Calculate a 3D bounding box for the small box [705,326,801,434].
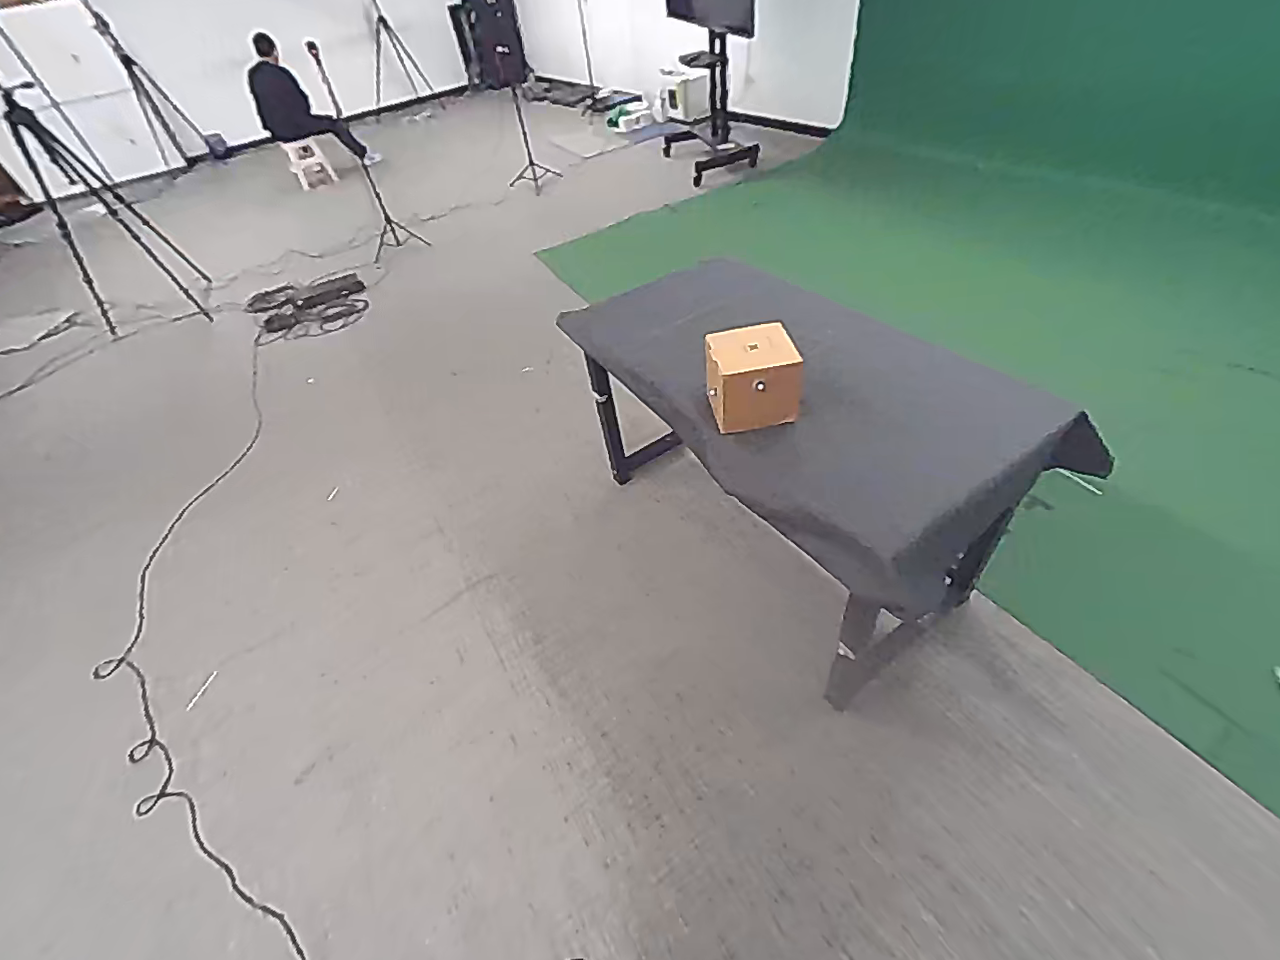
[{"bbox_3d":[0.251,-0.224,1.234,0.179,0.176,0.168,-10,46,-1],"label":"small box"}]
